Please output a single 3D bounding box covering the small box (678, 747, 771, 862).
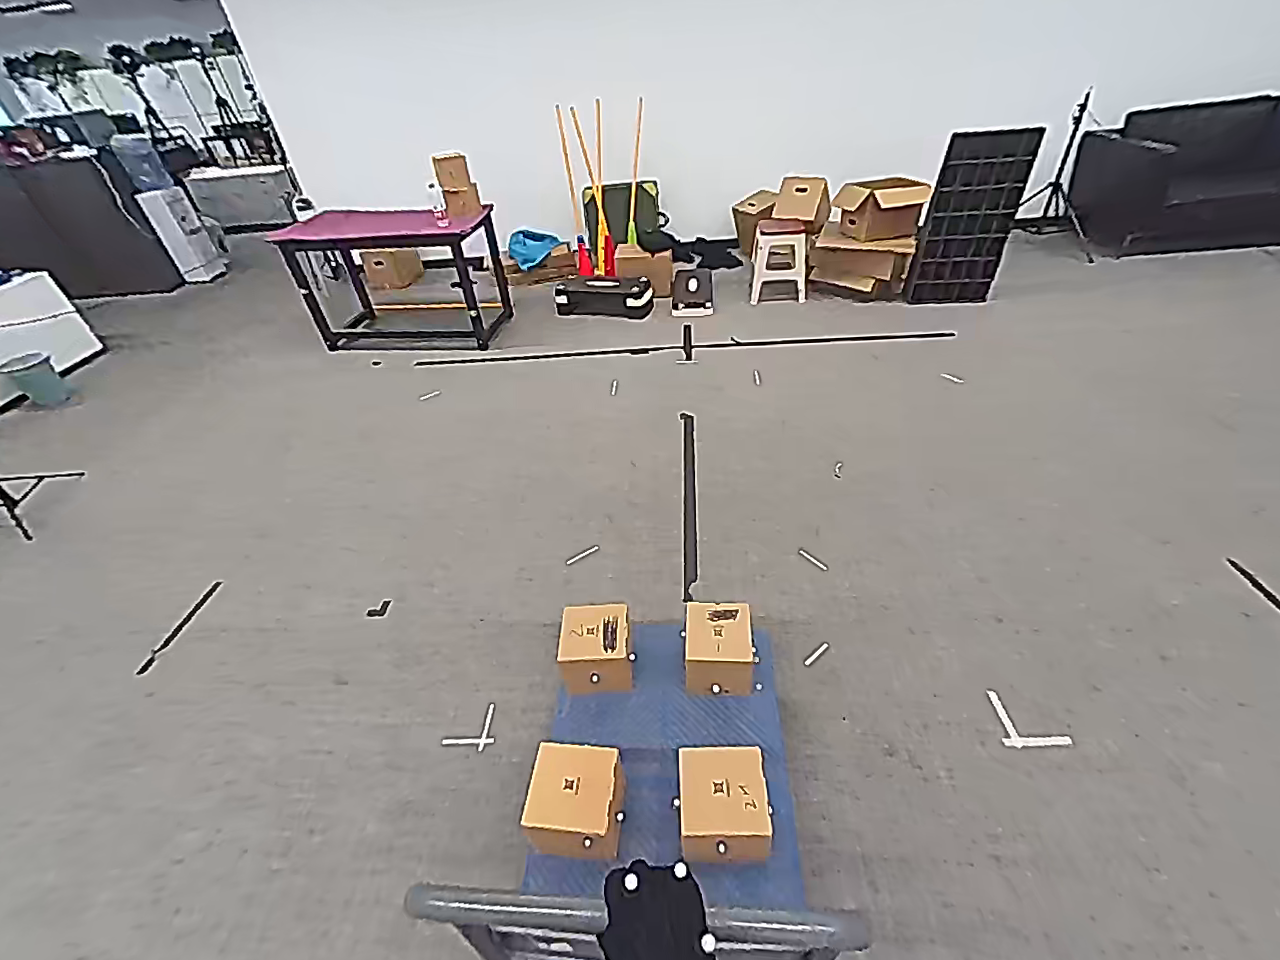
[{"bbox_3d":[0.173,0.682,1.137,0.179,0.176,0.168,-2,40,4],"label":"small box"}]

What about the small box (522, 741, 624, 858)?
[{"bbox_3d":[-0.135,0.689,1.165,0.179,0.176,0.168,2,40,6],"label":"small box"}]

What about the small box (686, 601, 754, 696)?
[{"bbox_3d":[0.208,0.442,1.422,0.168,0.176,0.179,0,41,7],"label":"small box"}]
